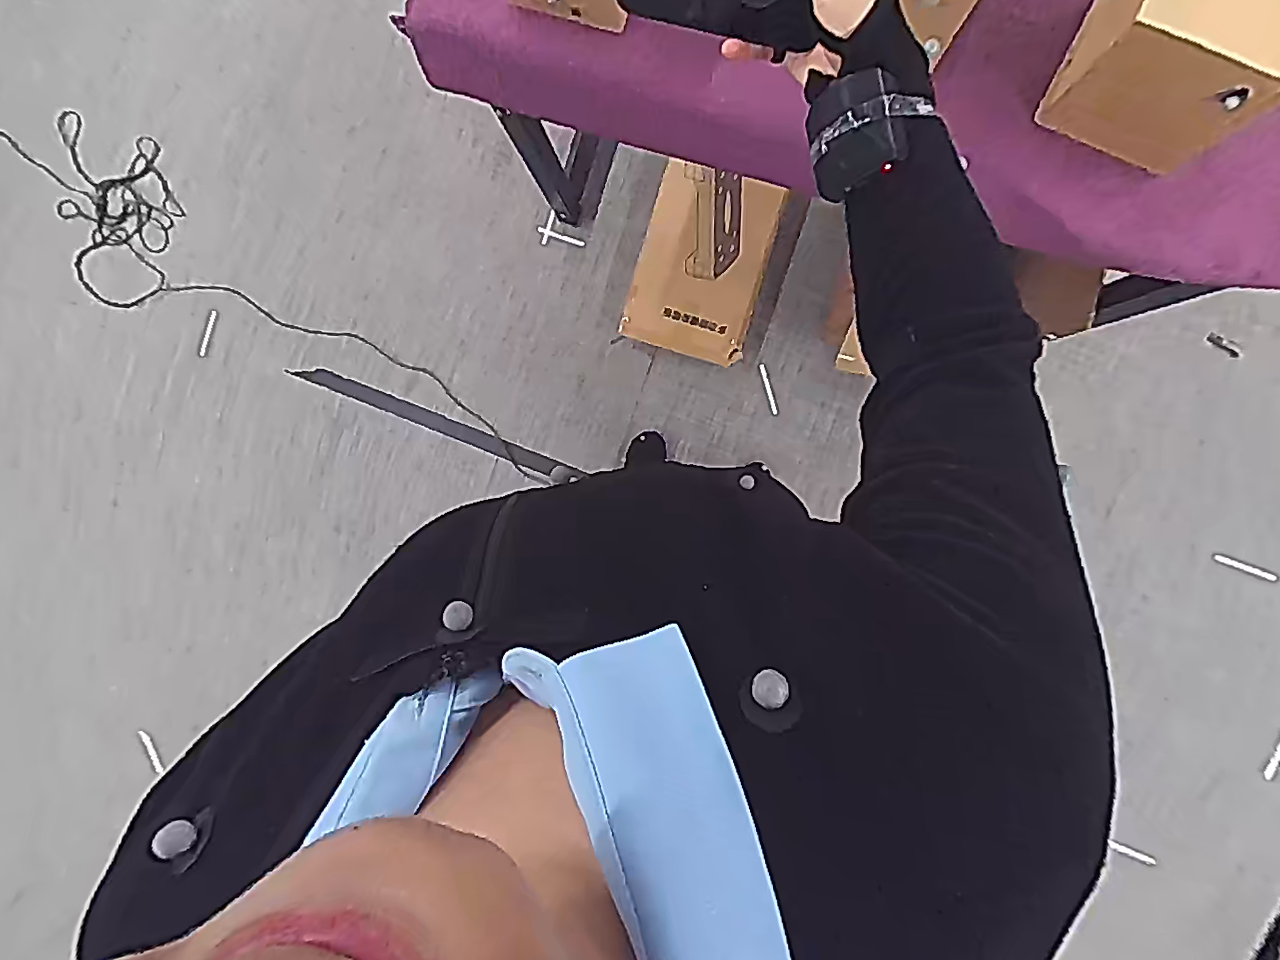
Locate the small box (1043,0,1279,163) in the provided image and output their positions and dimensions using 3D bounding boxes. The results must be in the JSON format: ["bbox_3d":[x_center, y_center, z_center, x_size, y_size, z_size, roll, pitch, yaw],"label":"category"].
[{"bbox_3d":[0.597,-0.485,0.584,0.179,0.176,0.168,25,96,3],"label":"small box"}]

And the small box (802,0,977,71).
[{"bbox_3d":[0.304,-0.607,0.603,0.179,0.176,0.168,18,93,4],"label":"small box"}]
